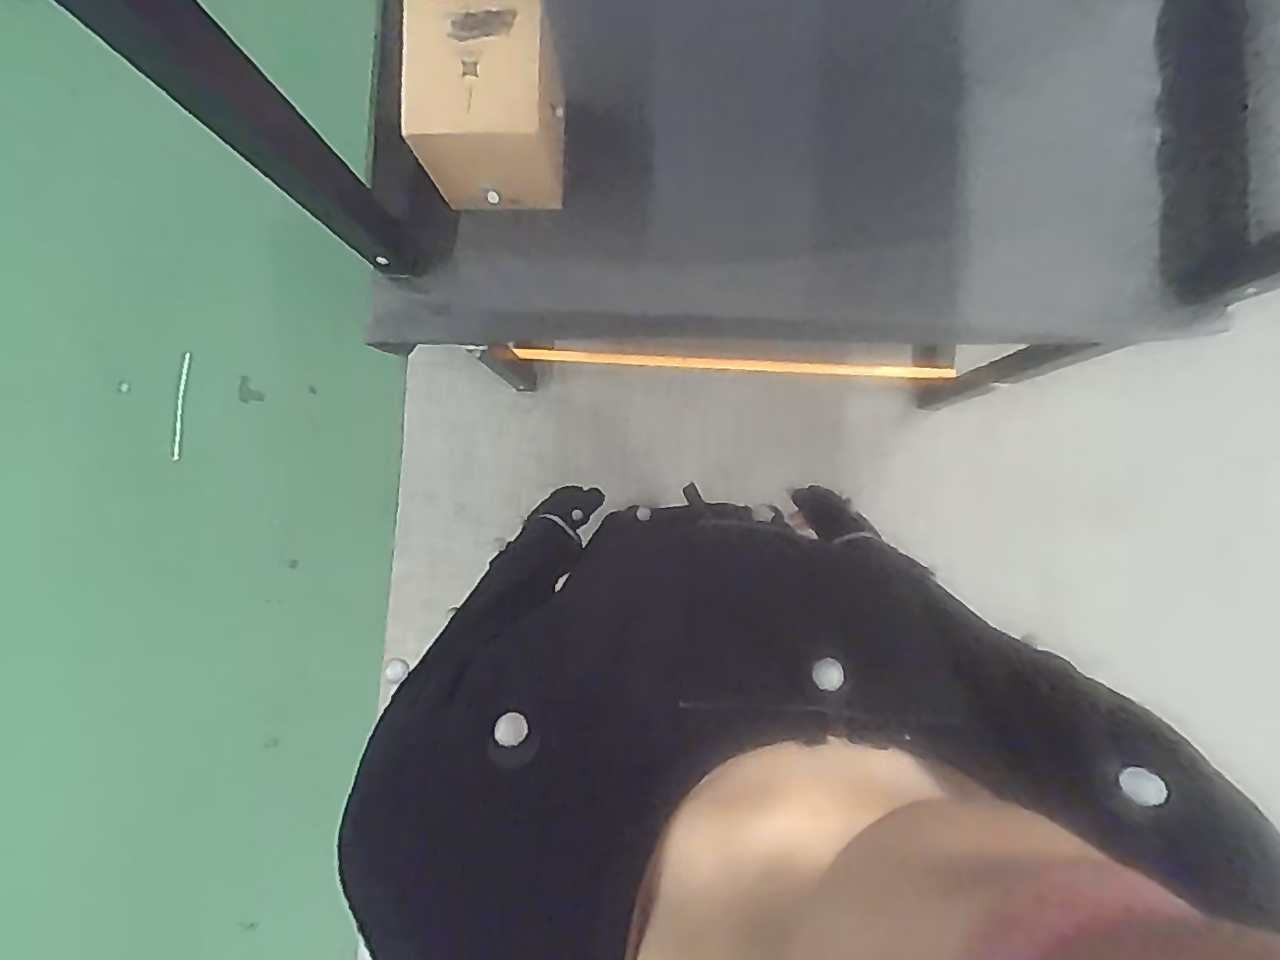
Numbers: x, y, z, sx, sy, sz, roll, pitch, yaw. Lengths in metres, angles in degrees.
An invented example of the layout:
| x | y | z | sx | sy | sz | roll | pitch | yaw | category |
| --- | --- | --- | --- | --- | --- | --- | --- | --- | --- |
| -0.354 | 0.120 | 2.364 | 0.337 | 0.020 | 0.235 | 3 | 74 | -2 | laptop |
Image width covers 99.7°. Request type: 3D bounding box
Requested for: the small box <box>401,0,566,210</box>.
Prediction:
| x | y | z | sx | sy | sz | roll | pitch | yaw | category |
| --- | --- | --- | --- | --- | --- | --- | --- | --- | --- |
| -0.194 | -0.488 | 0.713 | 0.168 | 0.176 | 0.179 | 1 | 87 | 2 | small box |
